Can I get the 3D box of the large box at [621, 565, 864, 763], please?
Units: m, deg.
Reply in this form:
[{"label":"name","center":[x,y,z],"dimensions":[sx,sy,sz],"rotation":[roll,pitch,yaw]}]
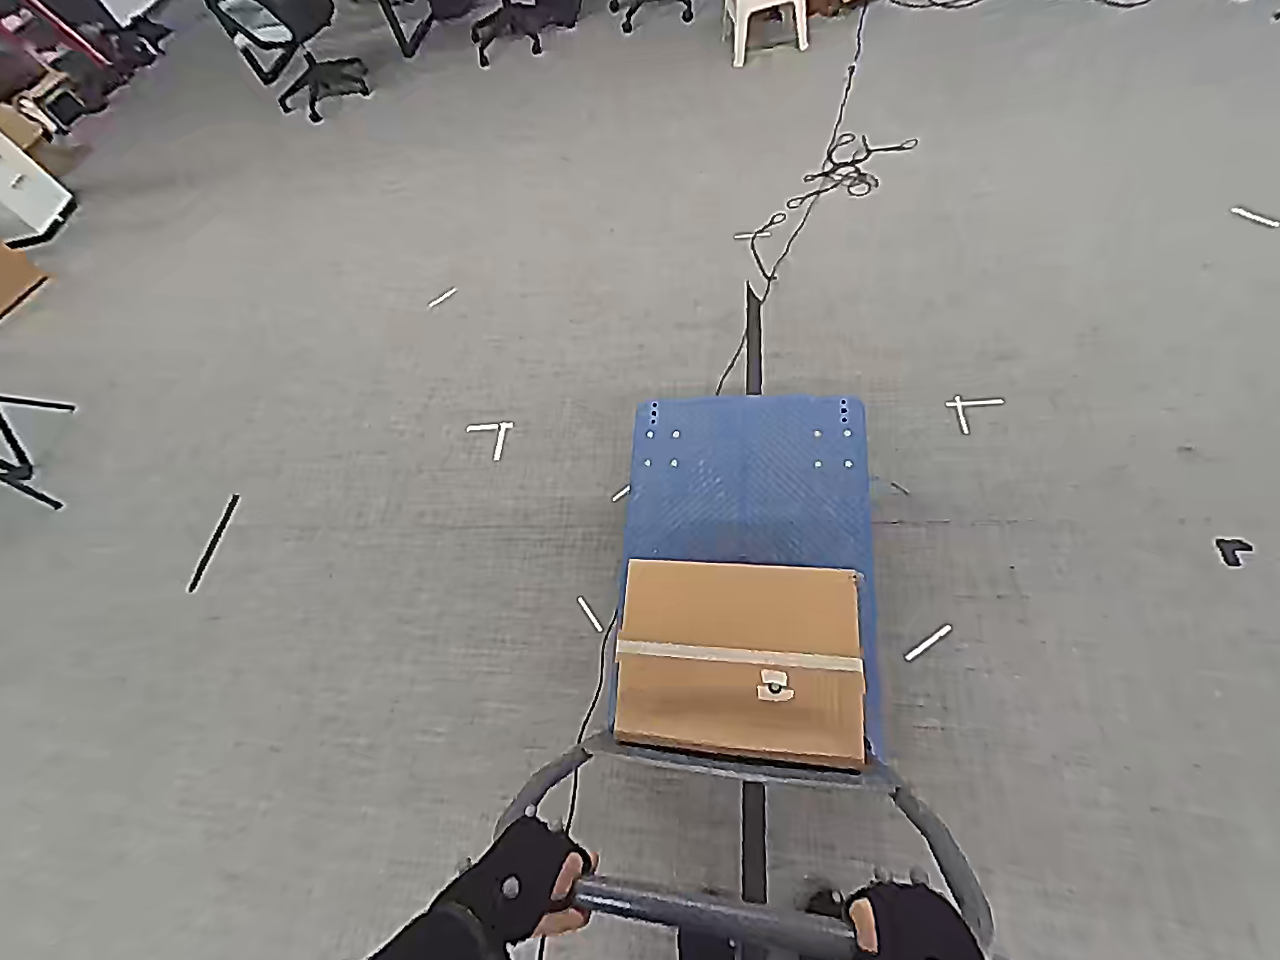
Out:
[{"label":"large box","center":[0.195,0.356,1.076],"dimensions":[0.408,0.320,0.320],"rotation":[0,71,11]}]
